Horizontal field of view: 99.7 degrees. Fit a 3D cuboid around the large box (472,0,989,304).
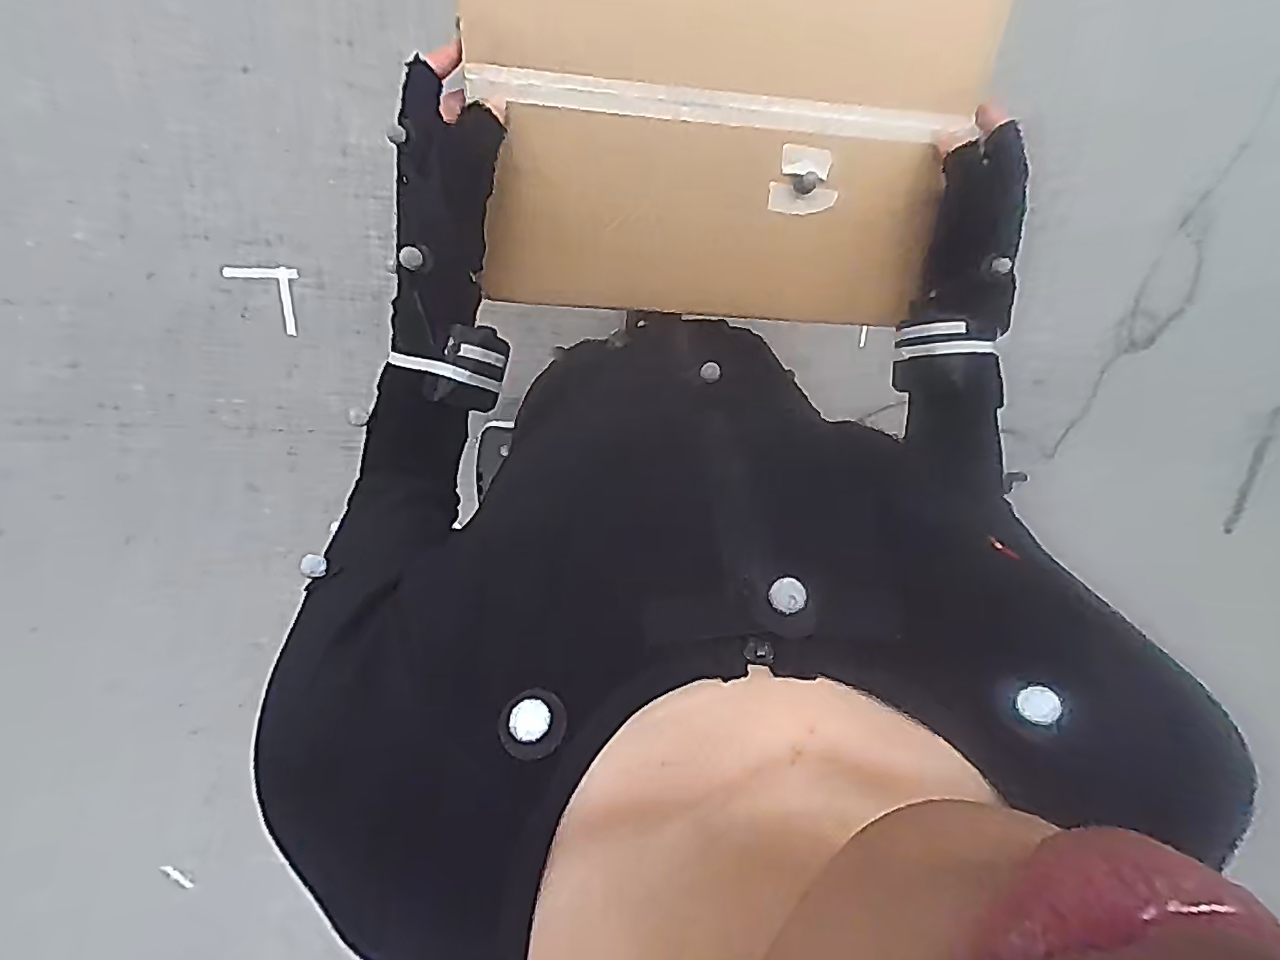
[{"bbox_3d":[0.055,-0.370,0.567,0.408,0.320,0.320,1,116,-7],"label":"large box"}]
